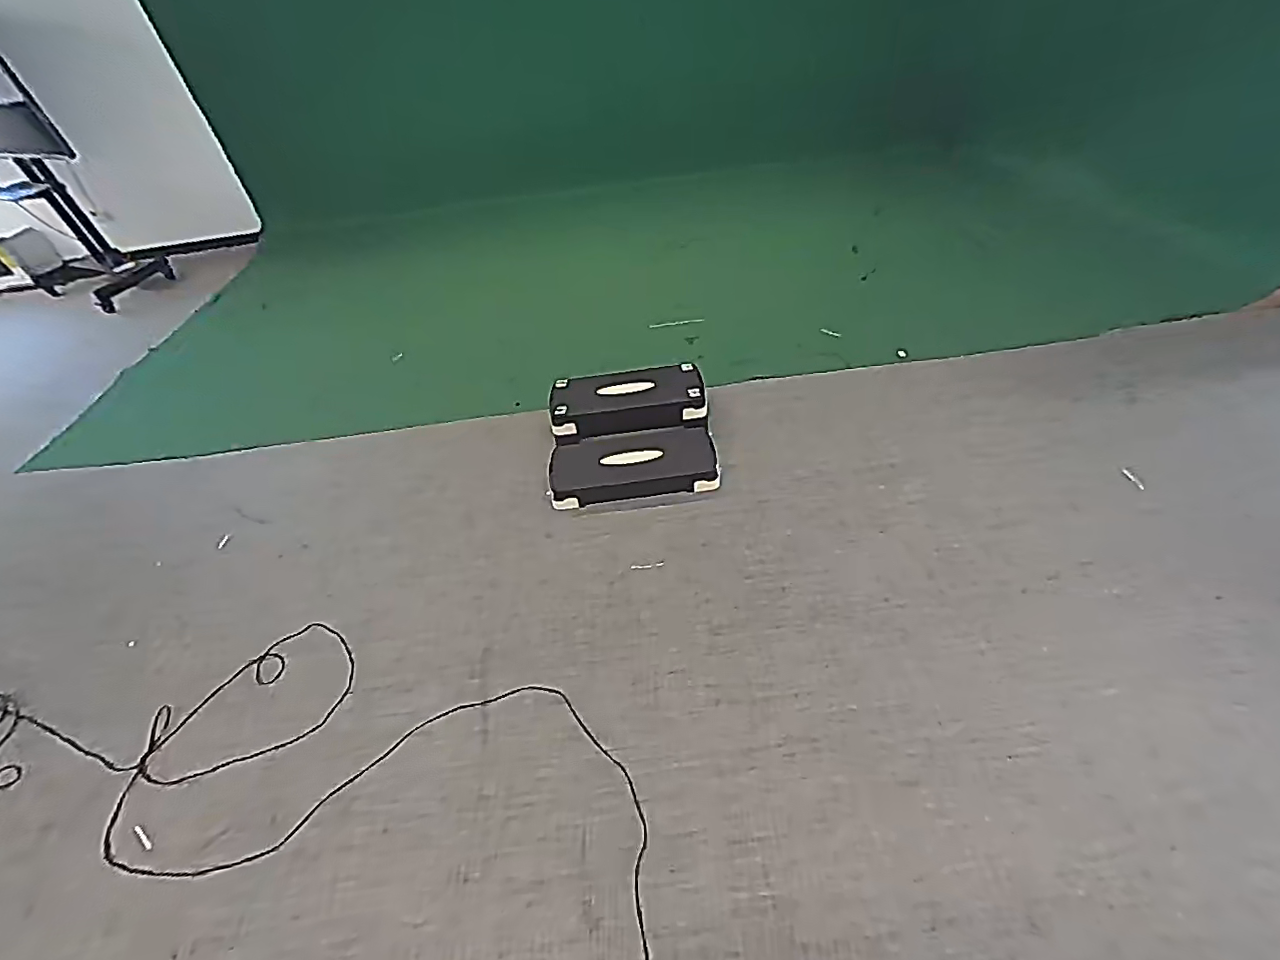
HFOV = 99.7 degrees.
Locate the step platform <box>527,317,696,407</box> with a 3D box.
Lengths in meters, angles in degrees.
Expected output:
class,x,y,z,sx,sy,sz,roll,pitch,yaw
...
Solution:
class,x,y,z,sx,sy,sz,roll,pitch,yaw
step platform,-0.111,-0.493,2.255,0.684,0.204,0.286,-8,45,1
